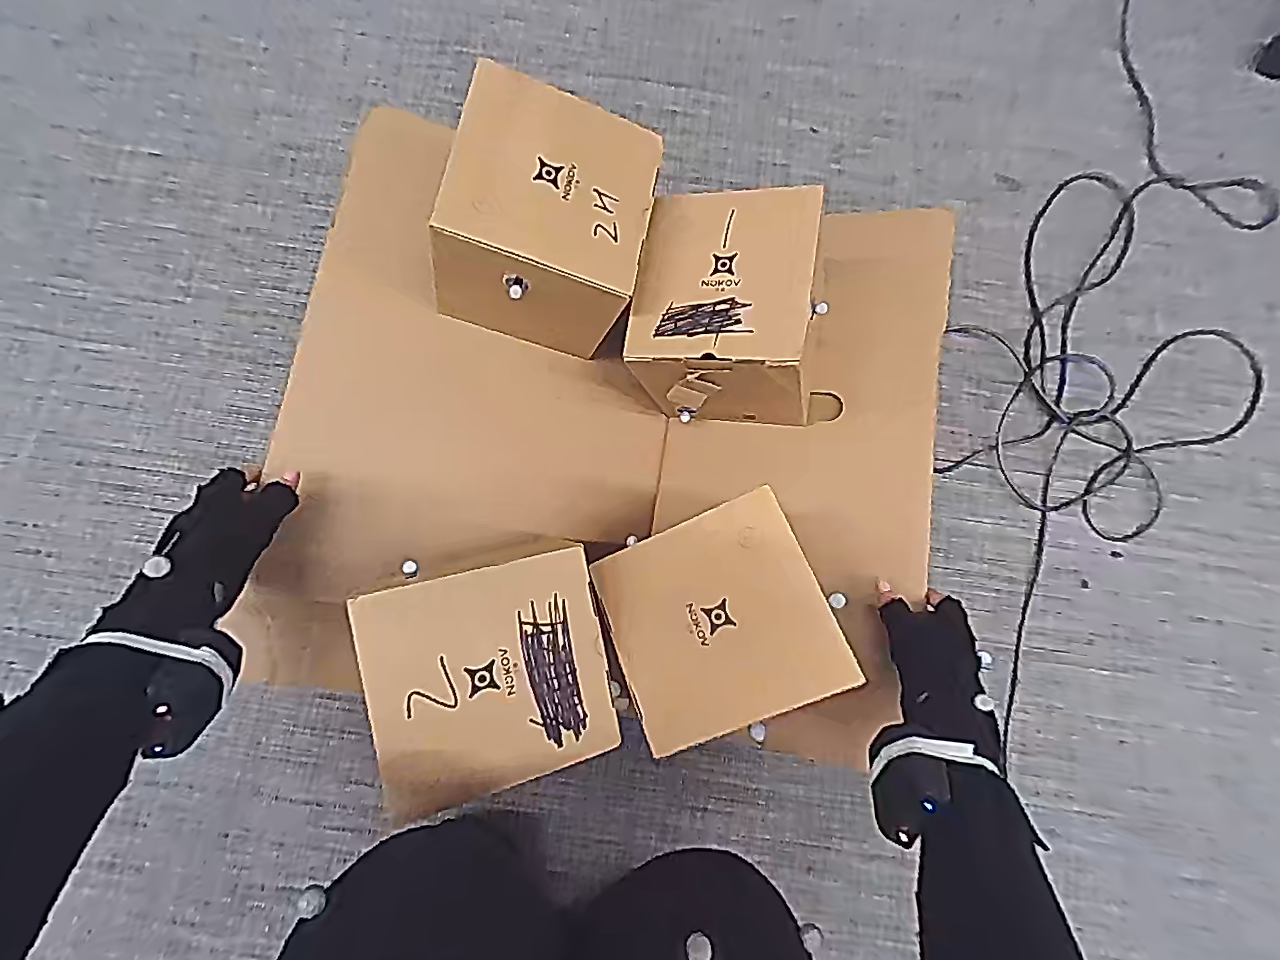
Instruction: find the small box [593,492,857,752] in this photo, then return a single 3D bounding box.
[{"bbox_3d":[0.085,0.131,0.519,0.179,0.176,0.168,-27,70,13],"label":"small box"}]
